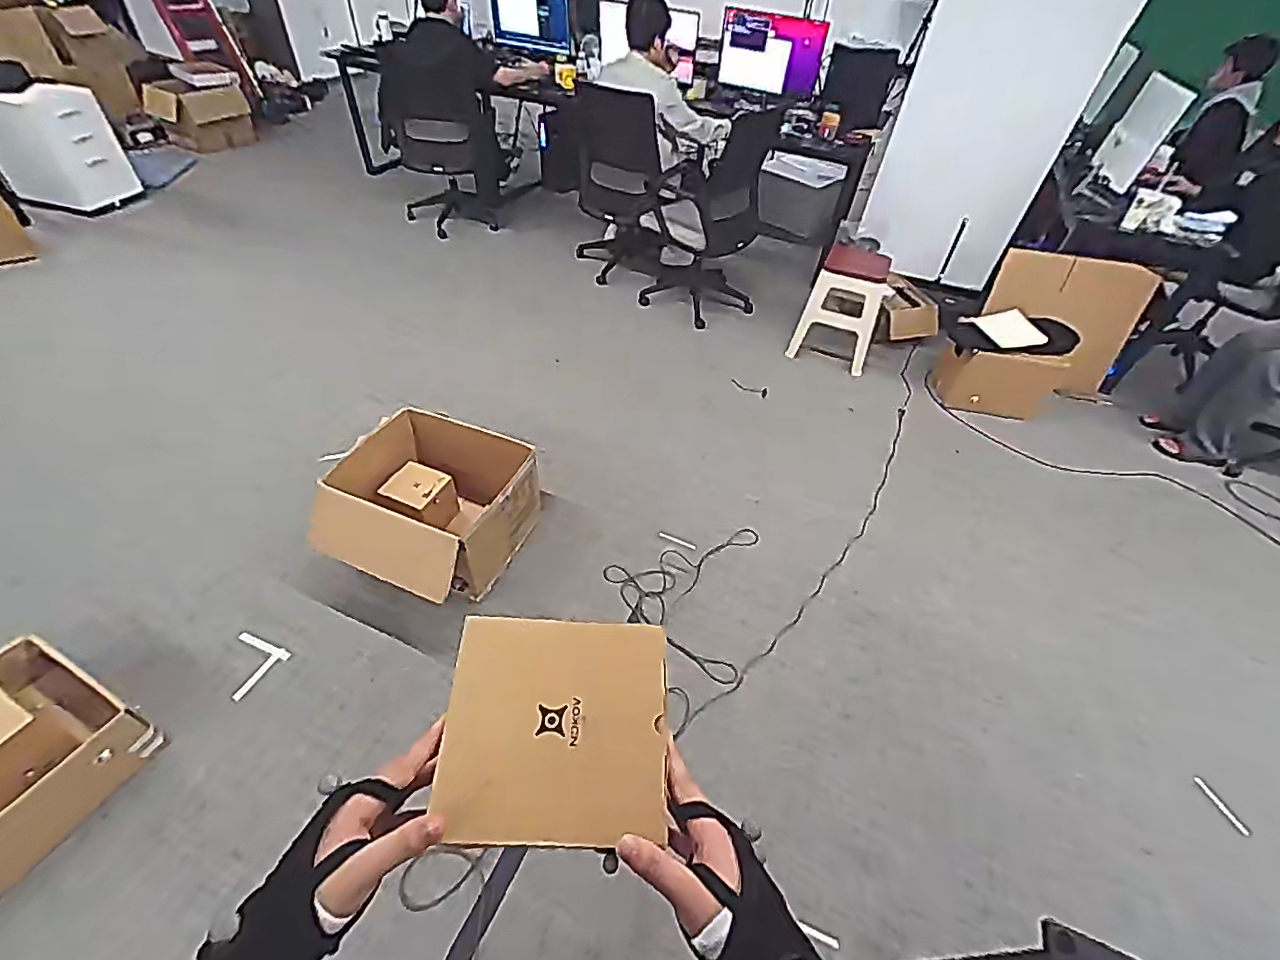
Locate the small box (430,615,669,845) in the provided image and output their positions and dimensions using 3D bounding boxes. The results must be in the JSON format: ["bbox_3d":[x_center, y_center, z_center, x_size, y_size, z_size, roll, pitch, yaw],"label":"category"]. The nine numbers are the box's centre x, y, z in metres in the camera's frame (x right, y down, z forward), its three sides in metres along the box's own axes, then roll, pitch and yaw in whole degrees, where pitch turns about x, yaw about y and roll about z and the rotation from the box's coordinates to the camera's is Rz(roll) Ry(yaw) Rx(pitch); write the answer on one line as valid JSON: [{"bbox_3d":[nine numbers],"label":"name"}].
[{"bbox_3d":[-0.070,0.236,0.501,0.179,0.176,0.168,4,56,-4],"label":"small box"}]
